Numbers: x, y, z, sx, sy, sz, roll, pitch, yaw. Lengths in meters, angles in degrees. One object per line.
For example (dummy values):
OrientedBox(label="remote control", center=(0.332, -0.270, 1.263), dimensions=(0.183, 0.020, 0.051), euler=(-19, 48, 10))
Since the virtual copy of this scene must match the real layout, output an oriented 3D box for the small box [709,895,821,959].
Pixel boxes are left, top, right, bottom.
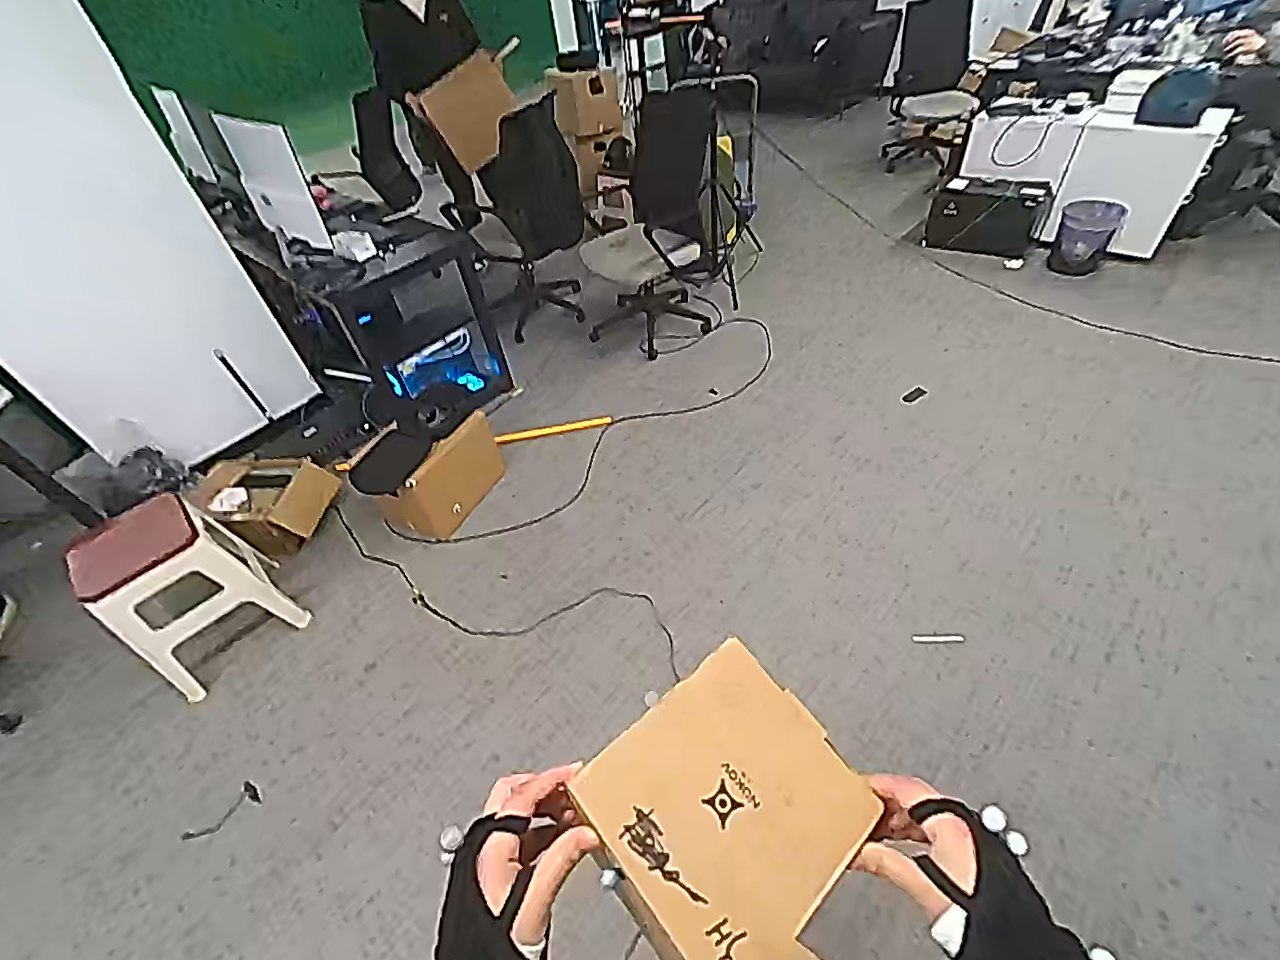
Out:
OrientedBox(label="small box", center=(0.199, 0.859, 0.911), dimensions=(0.168, 0.176, 0.179), euler=(25, 52, 28))
